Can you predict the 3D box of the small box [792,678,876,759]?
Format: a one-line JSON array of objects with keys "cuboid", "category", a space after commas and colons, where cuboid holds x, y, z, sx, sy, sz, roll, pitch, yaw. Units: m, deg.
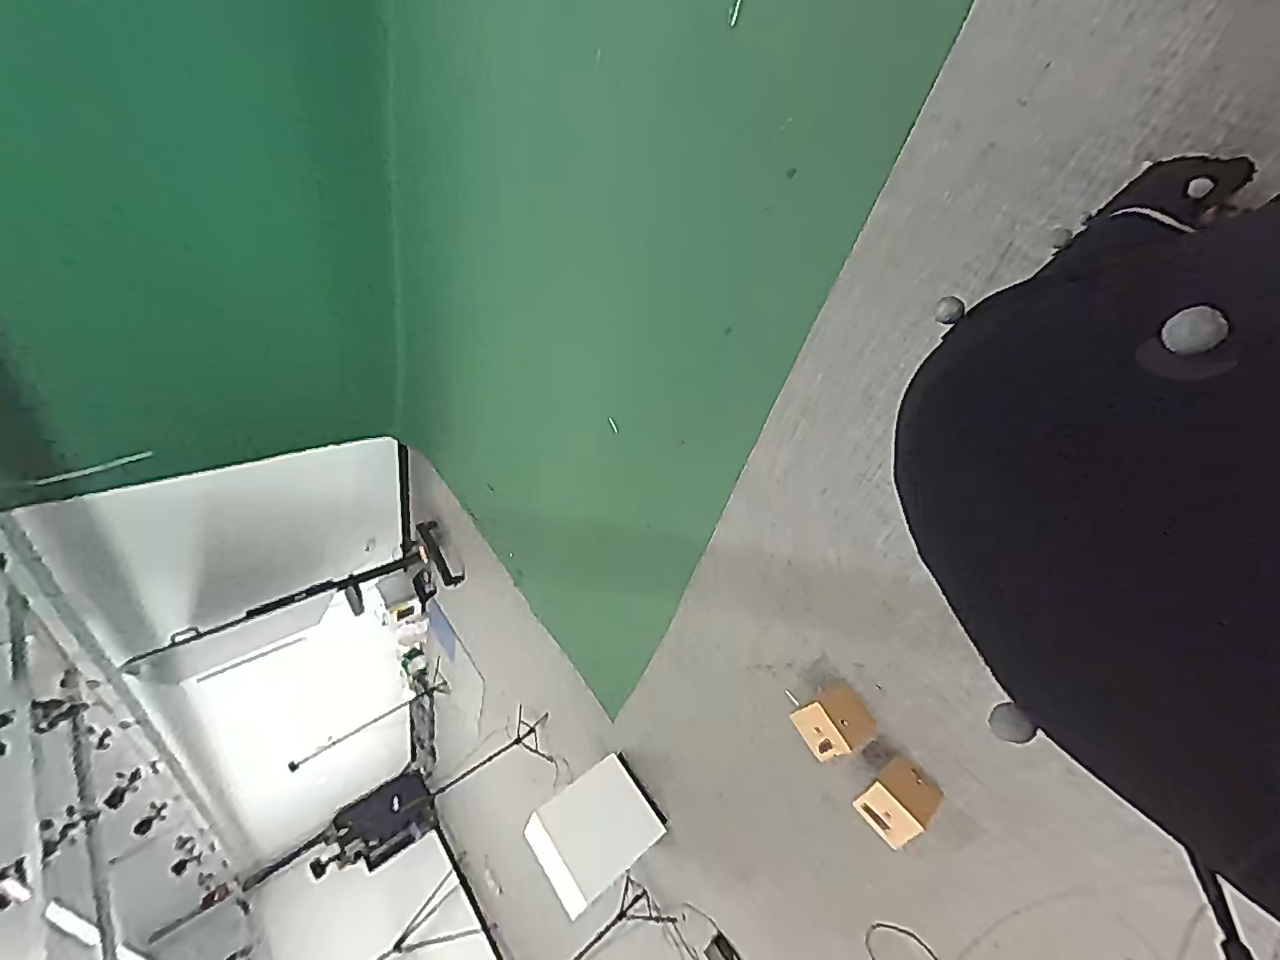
[{"cuboid": [0.667, 0.814, 1.852, 0.179, 0.176, 0.168, 56, 139, 19], "category": "small box"}]
